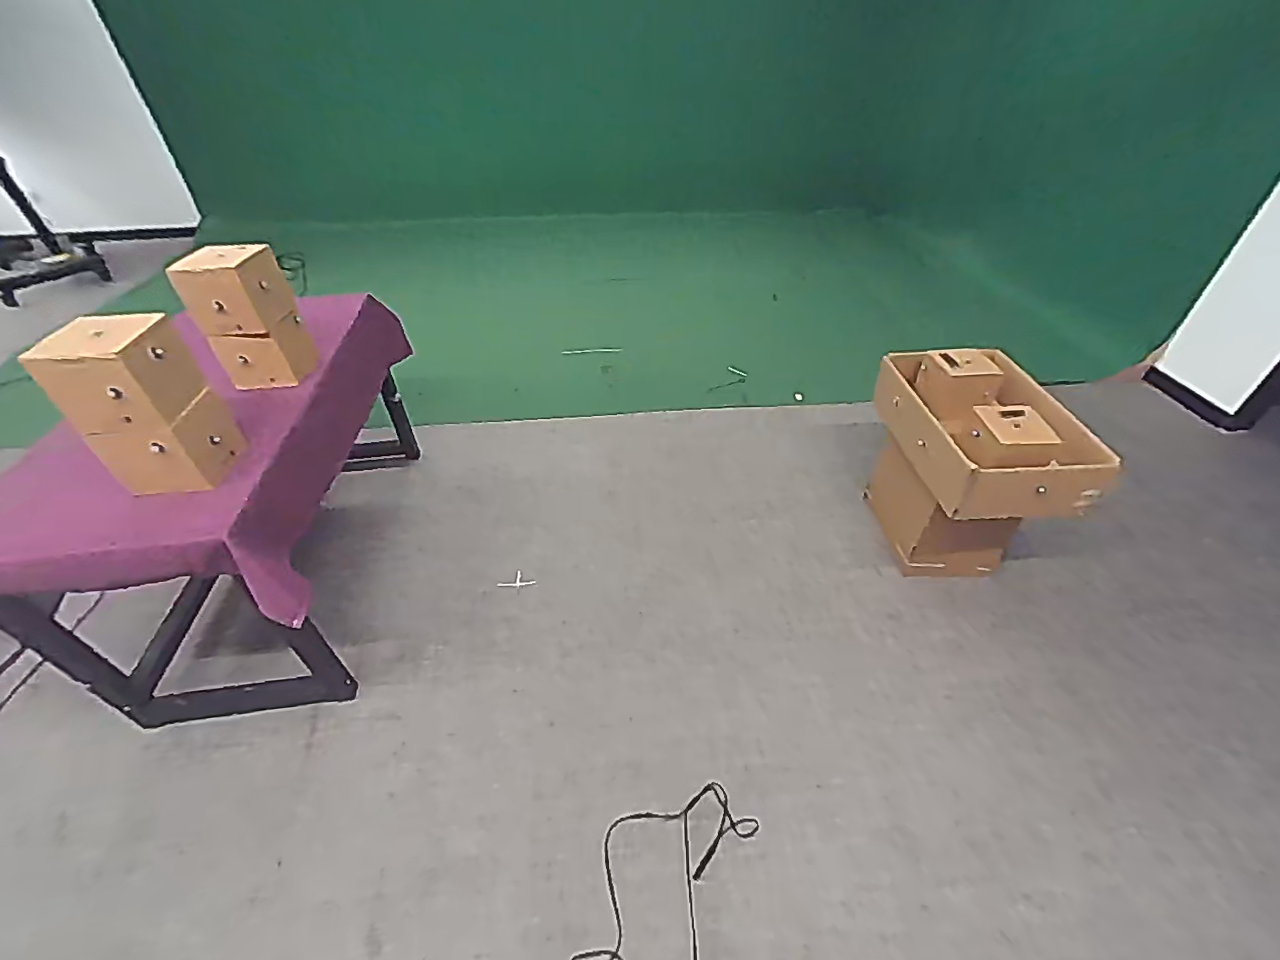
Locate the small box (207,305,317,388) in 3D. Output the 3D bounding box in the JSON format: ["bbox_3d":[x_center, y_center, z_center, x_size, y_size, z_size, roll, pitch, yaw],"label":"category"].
[{"bbox_3d":[-1.036,-0.368,1.502,0.168,0.176,0.179,-5,42,-4],"label":"small box"}]

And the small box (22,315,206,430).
[{"bbox_3d":[-1.024,-0.210,1.078,0.168,0.176,0.179,-4,41,-4],"label":"small box"}]

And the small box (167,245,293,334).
[{"bbox_3d":[-1.036,-0.486,1.388,0.168,0.176,0.179,-2,42,0],"label":"small box"}]

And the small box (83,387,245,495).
[{"bbox_3d":[-1.019,-0.084,1.182,0.179,0.176,0.168,-4,41,-3],"label":"small box"}]
